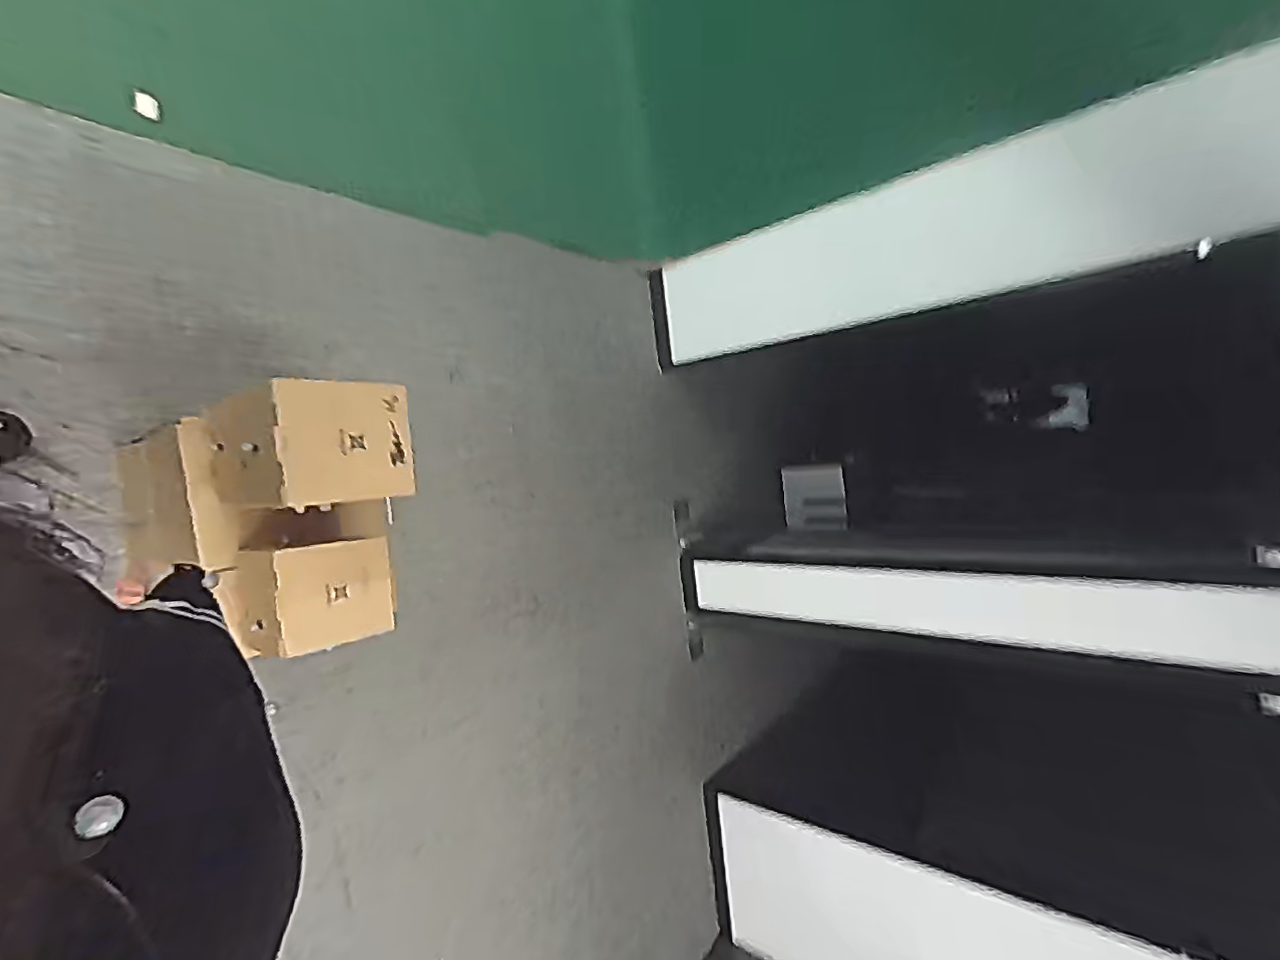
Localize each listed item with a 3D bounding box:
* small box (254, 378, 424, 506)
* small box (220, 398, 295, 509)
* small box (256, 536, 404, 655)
[{"bbox_3d":[-0.446,-0.051,0.797,0.179,0.176,0.168,-7,94,-49],"label":"small box"},{"bbox_3d":[-0.568,-0.045,0.906,0.179,0.176,0.168,-9,95,-49],"label":"small box"},{"bbox_3d":[-0.534,0.188,0.926,0.179,0.176,0.168,-4,89,-52],"label":"small box"}]
